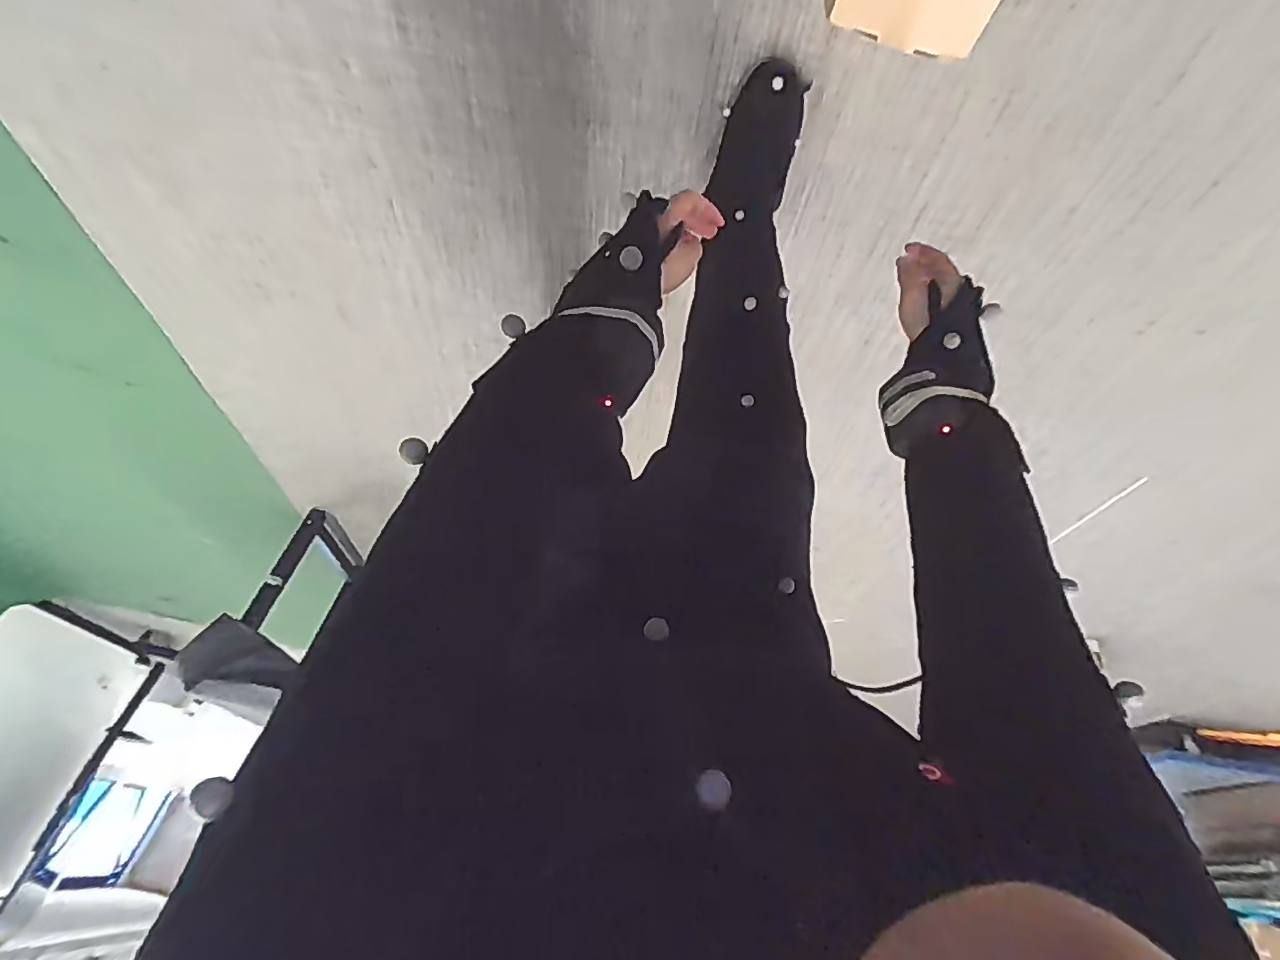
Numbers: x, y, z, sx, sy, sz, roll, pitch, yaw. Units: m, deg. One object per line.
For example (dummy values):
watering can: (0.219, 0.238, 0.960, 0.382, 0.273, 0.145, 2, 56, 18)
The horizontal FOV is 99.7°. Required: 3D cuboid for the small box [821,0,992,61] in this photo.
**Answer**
small box: (0.310, -0.604, 0.584, 0.168, 0.176, 0.179, 13, 143, -5)
